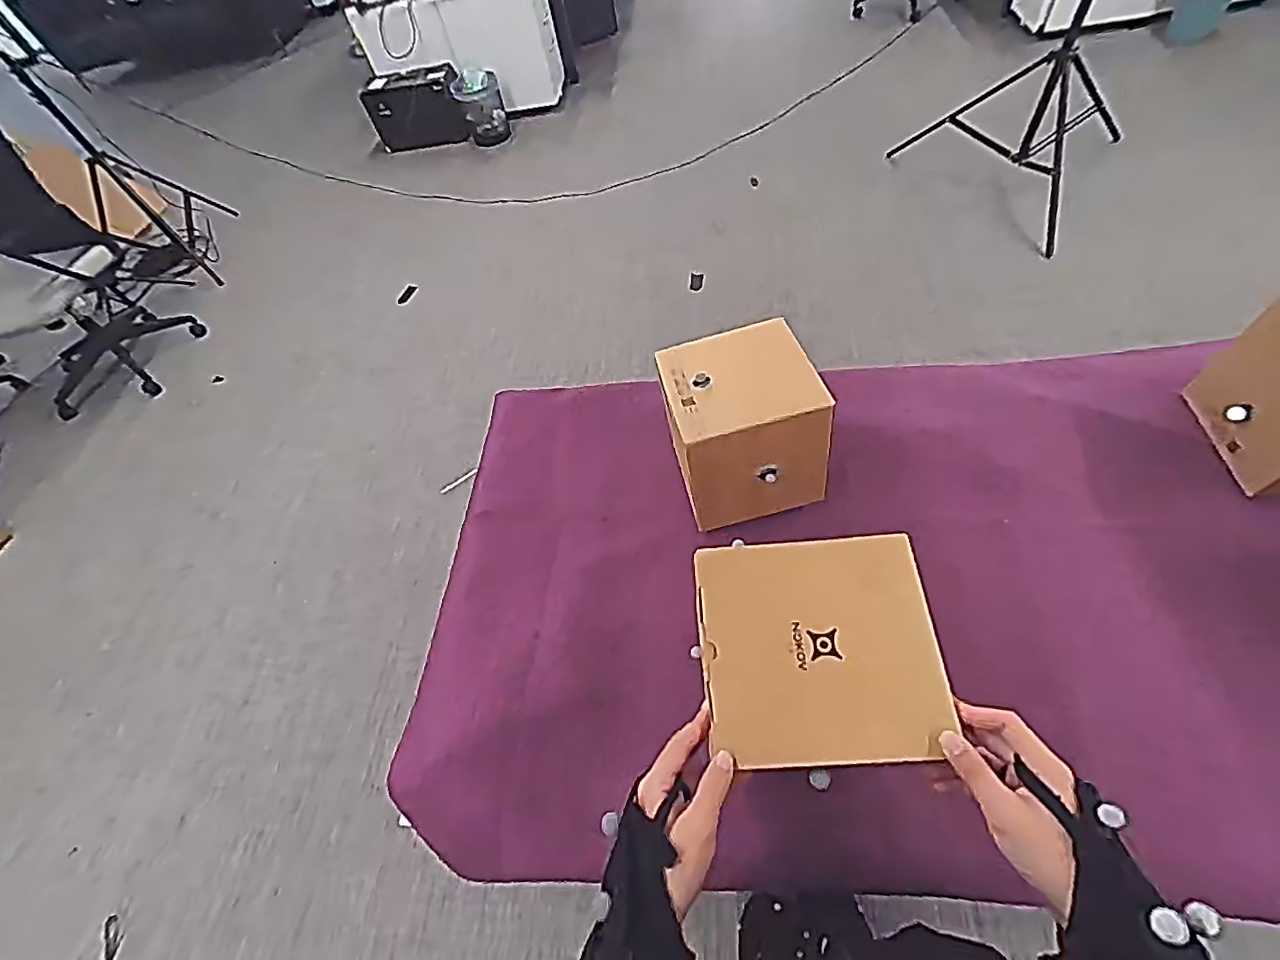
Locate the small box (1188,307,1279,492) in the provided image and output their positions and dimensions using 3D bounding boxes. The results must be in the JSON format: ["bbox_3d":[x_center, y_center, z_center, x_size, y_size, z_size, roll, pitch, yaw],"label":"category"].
[{"bbox_3d":[0.785,-0.097,0.591,0.179,0.176,0.168,-2,57,9],"label":"small box"}]

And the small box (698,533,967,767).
[{"bbox_3d":[0.146,0.156,0.483,0.179,0.176,0.168,-6,64,5],"label":"small box"}]
